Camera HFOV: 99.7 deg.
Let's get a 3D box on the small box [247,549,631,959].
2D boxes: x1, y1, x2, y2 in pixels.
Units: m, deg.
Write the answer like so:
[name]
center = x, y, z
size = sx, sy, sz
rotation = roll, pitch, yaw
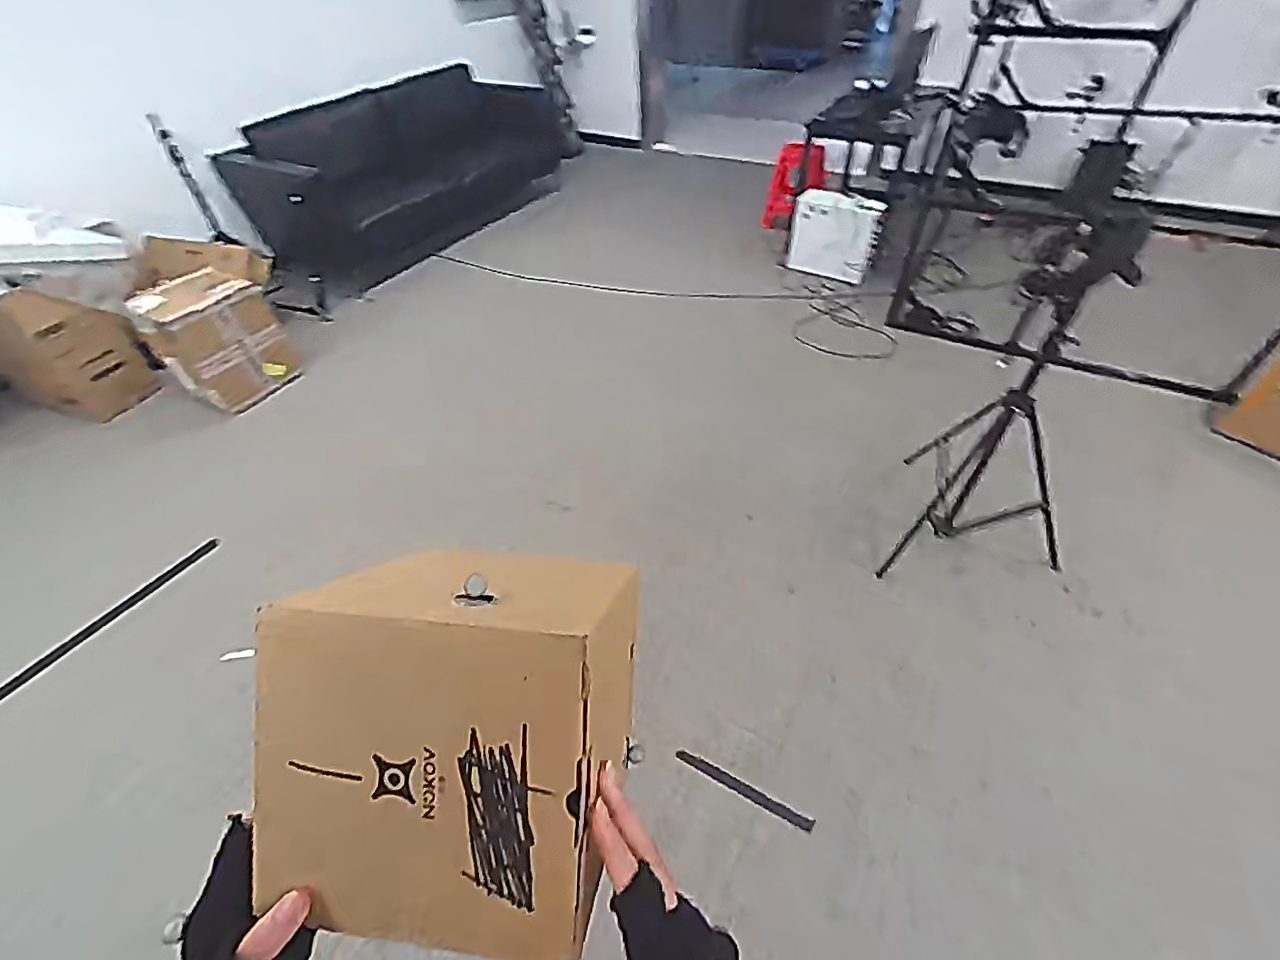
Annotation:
[small box]
center = -0.103, 0.140, 0.343
size = 0.179, 0.168, 0.176
rotation = 3, 2, 8
